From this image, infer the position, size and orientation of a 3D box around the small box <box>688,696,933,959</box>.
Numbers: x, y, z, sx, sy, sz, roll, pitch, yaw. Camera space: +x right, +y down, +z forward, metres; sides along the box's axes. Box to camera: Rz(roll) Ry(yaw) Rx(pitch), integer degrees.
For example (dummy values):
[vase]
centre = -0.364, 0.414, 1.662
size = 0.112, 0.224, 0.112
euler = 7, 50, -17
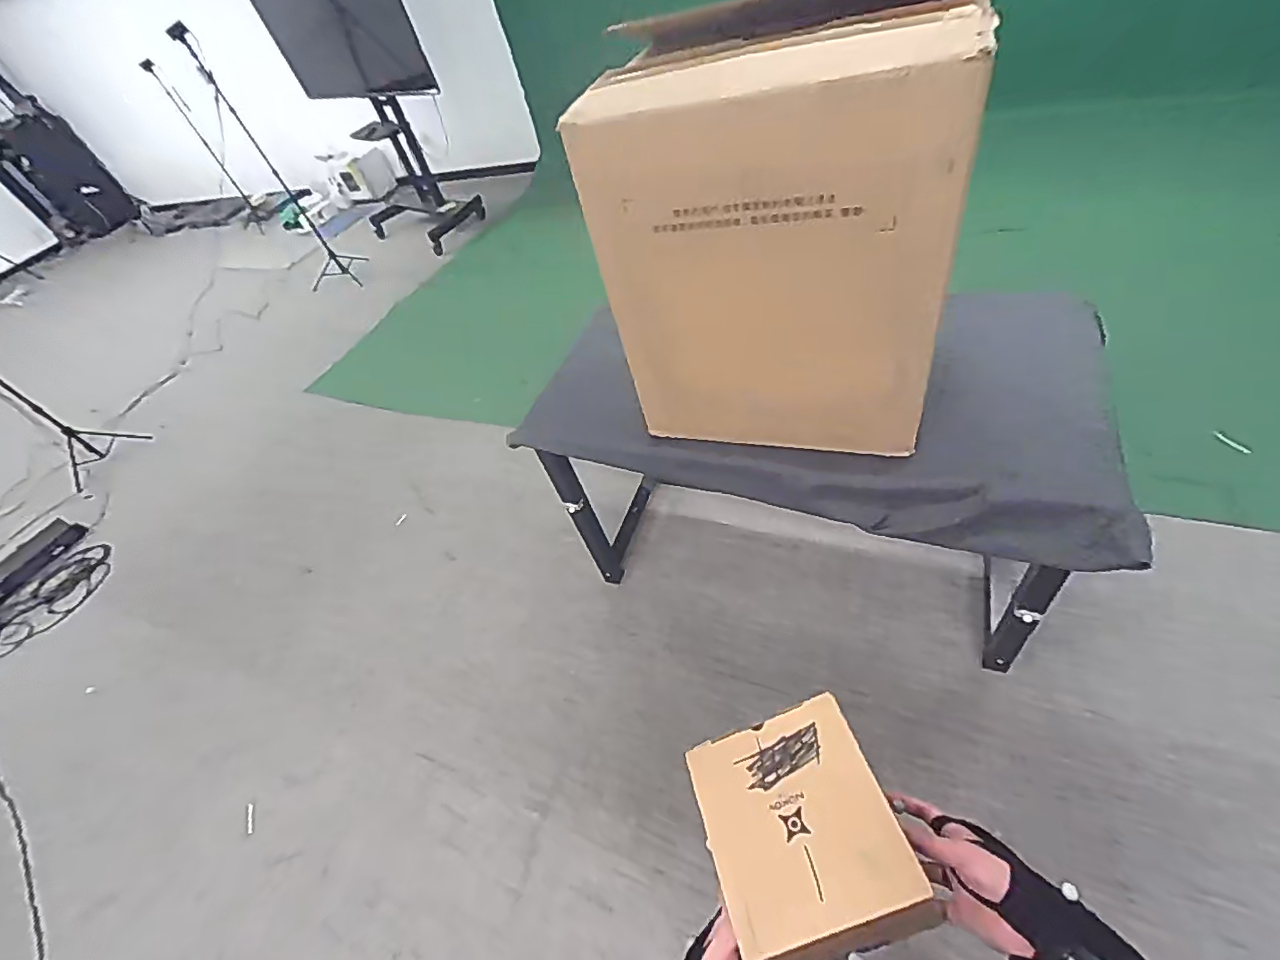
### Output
[small box]
centre = 0.169, 0.359, 0.548
size = 0.168, 0.176, 0.179
euler = -26, 41, 7
